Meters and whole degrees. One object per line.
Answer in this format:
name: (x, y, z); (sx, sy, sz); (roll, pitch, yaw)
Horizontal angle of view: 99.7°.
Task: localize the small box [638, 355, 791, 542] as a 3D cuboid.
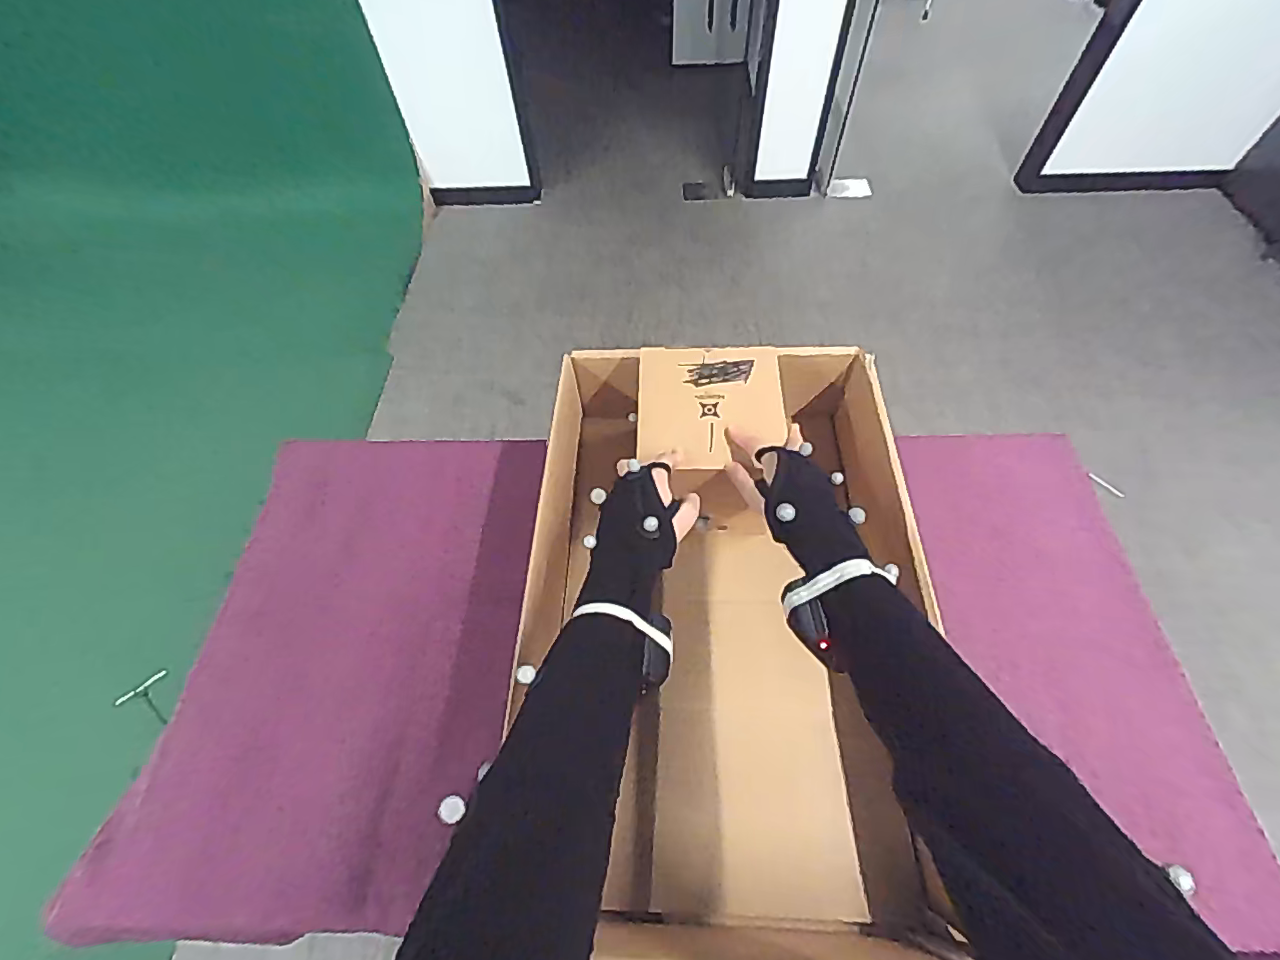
small box: (0.085, -0.037, 0.682); (0.168, 0.176, 0.179); (0, 60, 4)
